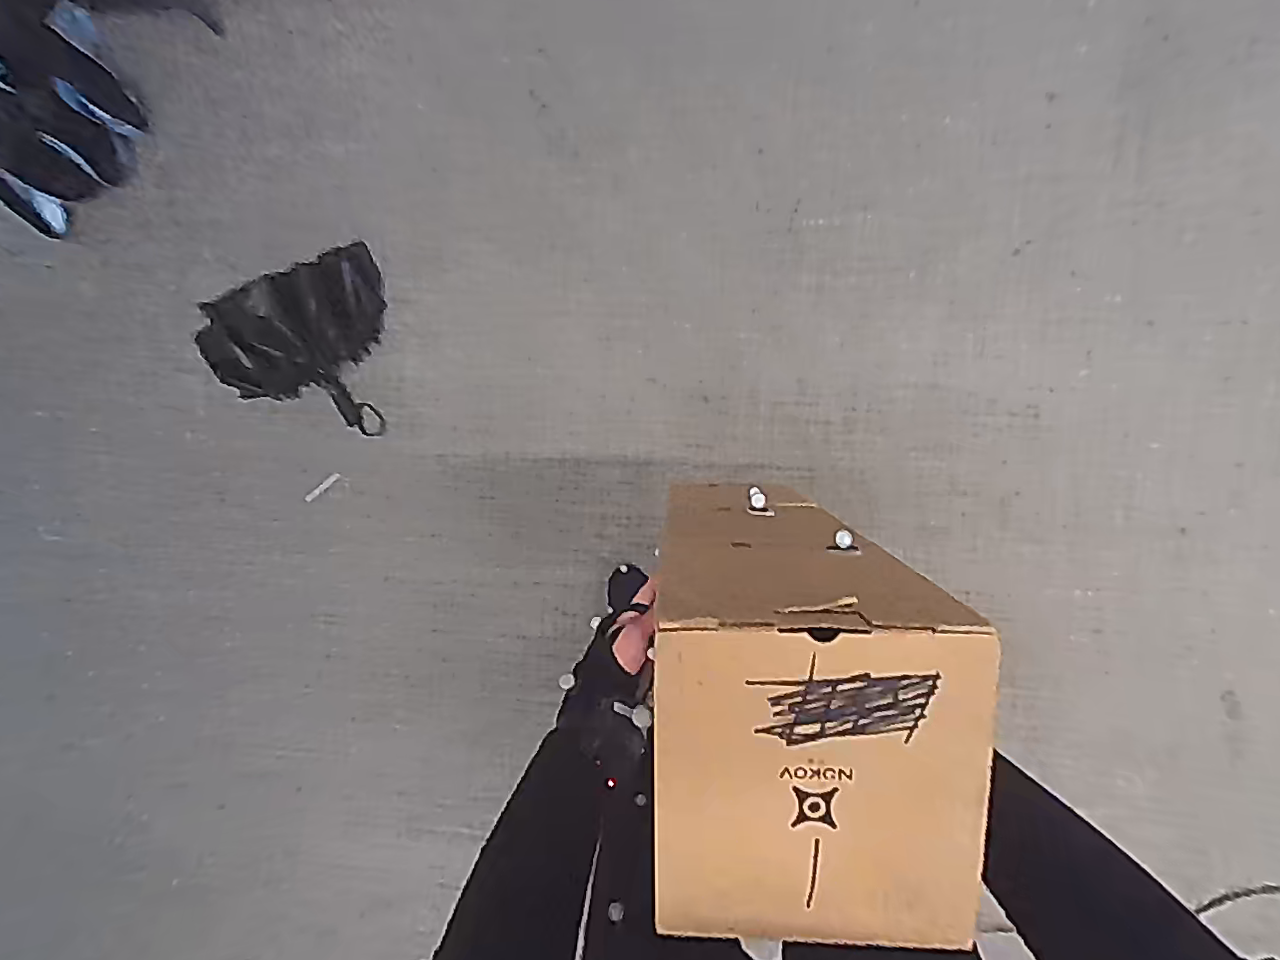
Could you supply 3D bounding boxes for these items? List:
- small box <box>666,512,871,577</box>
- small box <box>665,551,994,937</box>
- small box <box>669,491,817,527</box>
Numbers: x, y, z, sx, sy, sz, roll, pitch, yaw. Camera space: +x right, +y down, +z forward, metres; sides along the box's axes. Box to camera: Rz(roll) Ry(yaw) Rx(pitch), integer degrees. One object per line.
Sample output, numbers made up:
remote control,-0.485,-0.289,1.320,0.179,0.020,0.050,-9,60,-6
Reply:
small box,0.110,0.132,0.527,0.168,0.176,0.179,-1,95,4
small box,0.101,0.150,0.364,0.168,0.176,0.179,0,98,3
small box,0.121,0.113,0.689,0.168,0.176,0.179,0,97,4
